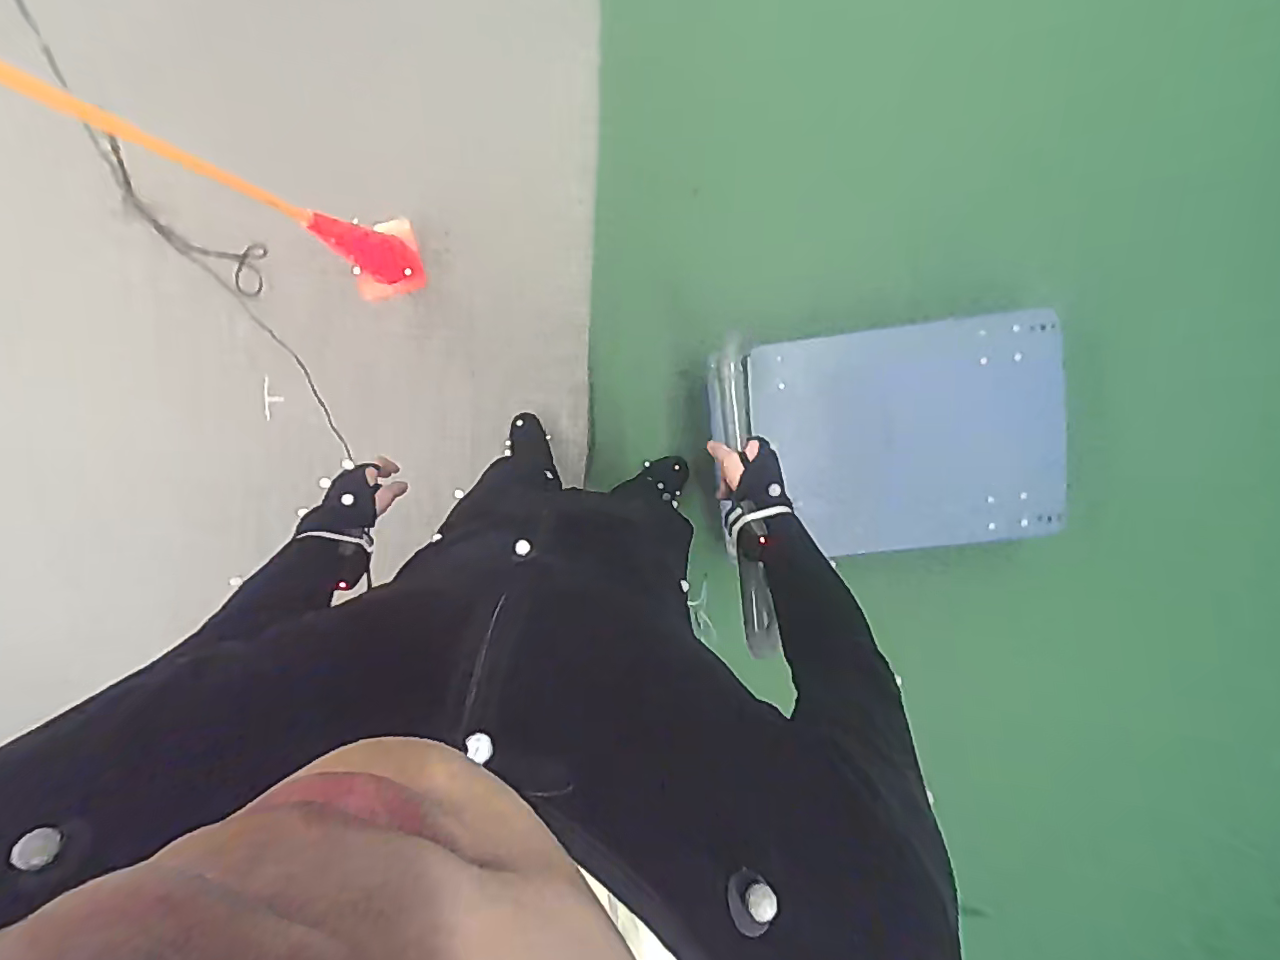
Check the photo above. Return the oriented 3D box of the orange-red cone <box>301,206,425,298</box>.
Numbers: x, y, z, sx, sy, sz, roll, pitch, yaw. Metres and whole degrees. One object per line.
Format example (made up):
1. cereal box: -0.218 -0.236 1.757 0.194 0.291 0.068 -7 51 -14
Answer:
1. orange-red cone: -0.740 -0.621 1.393 0.198 0.360 0.199 -11 95 4
